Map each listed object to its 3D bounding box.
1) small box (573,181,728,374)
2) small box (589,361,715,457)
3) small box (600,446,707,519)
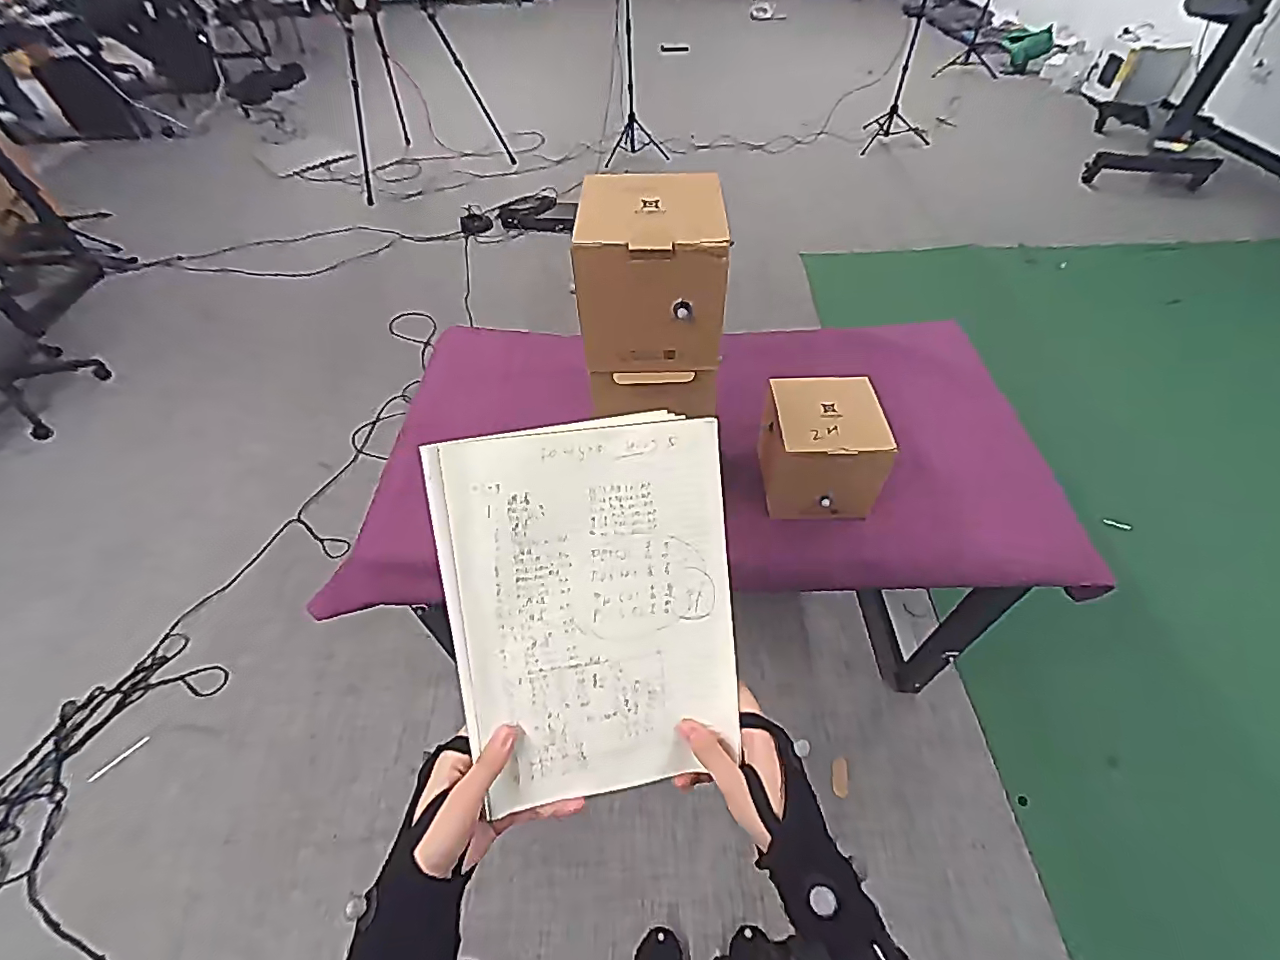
[{"bbox_3d":[0.017,-0.248,0.673,0.168,0.176,0.179,1,50,2],"label":"small box"},{"bbox_3d":[0.021,-0.147,0.802,0.168,0.176,0.179,0,49,2],"label":"small box"},{"bbox_3d":[0.026,-0.046,0.932,0.168,0.176,0.179,0,51,2],"label":"small box"}]
